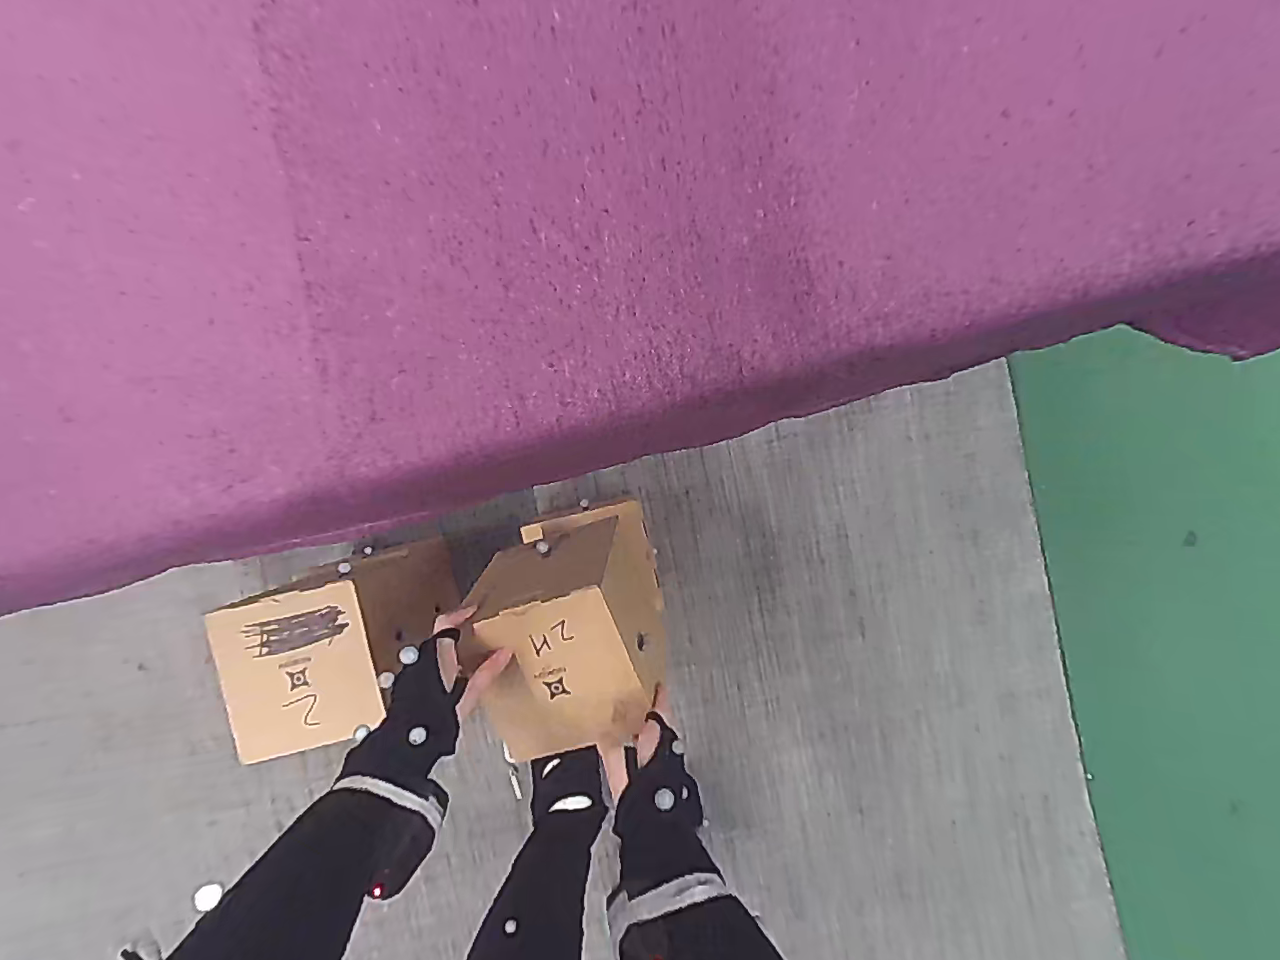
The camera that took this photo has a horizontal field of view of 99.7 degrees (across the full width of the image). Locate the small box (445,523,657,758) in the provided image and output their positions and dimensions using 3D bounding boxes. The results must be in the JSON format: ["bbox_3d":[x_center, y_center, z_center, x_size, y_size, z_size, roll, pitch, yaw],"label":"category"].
[{"bbox_3d":[-0.084,0.175,0.620,0.168,0.176,0.179,-17,106,10],"label":"small box"}]
